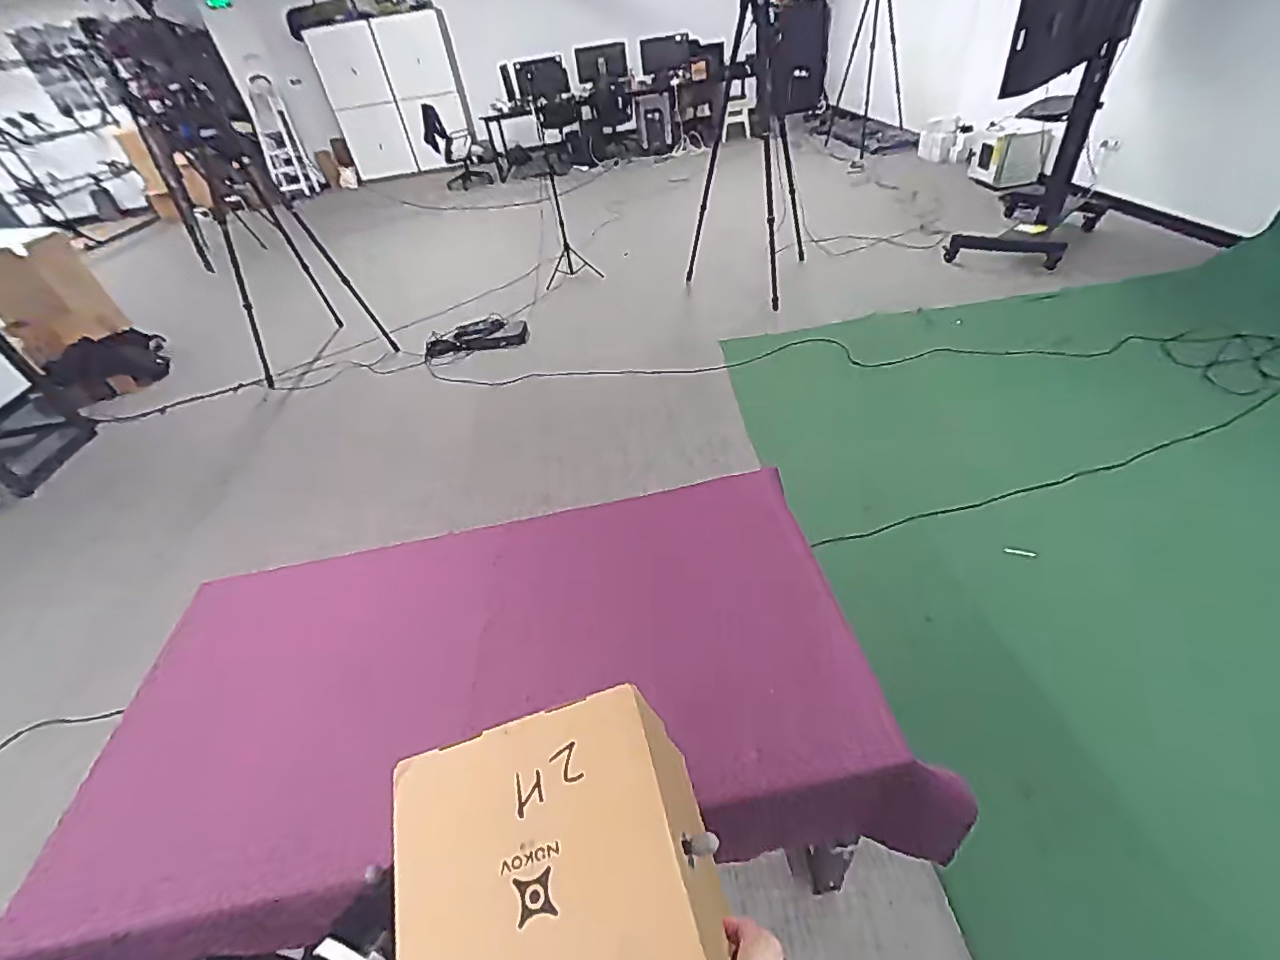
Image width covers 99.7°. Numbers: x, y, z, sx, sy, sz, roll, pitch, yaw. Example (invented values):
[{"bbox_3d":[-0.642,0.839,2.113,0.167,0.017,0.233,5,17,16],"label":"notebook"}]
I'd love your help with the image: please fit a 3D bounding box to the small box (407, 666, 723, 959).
[{"bbox_3d":[-0.045,0.261,0.386,0.168,0.176,0.179,-18,55,-1],"label":"small box"}]
